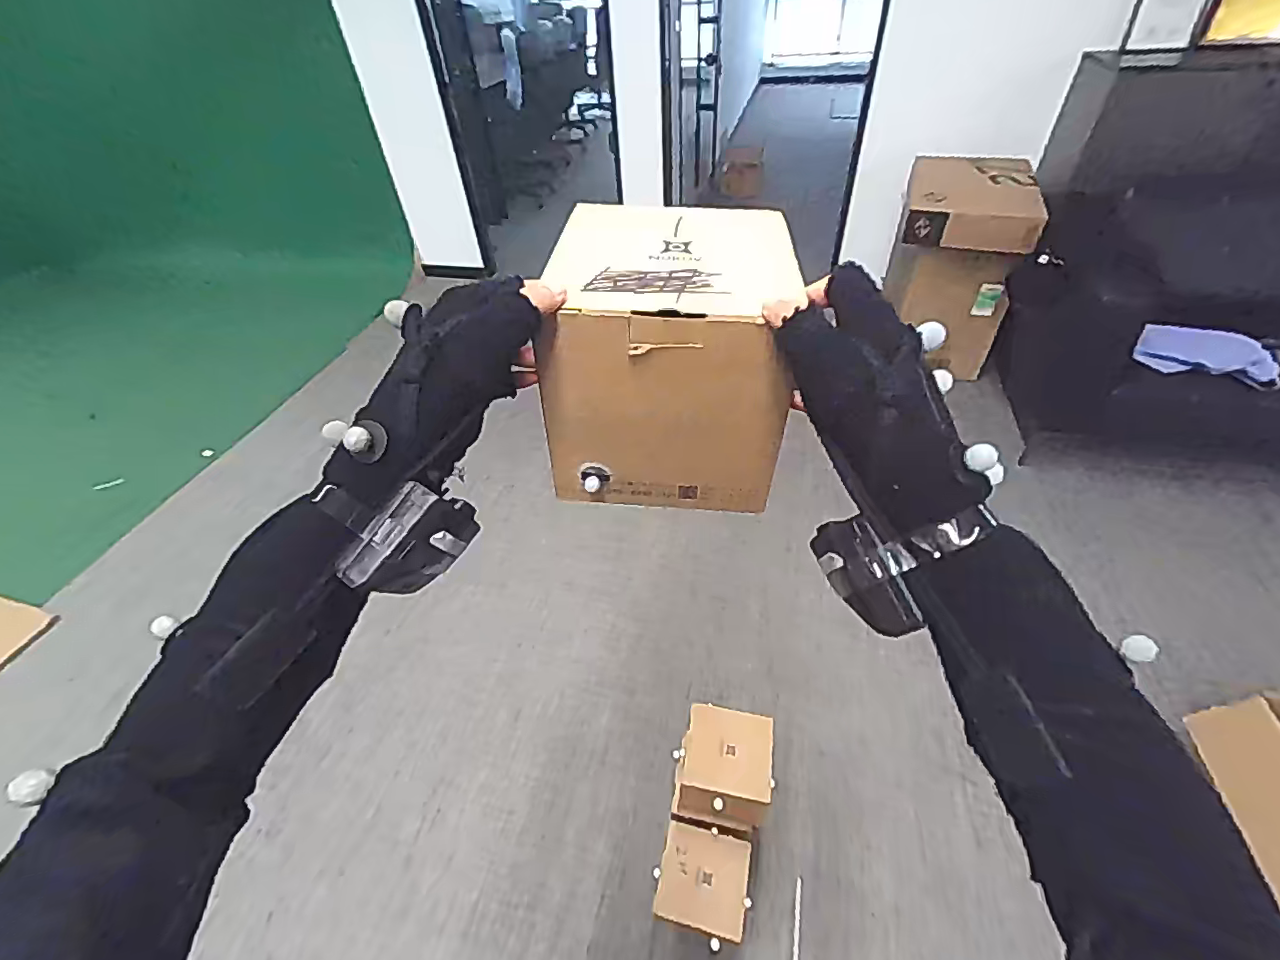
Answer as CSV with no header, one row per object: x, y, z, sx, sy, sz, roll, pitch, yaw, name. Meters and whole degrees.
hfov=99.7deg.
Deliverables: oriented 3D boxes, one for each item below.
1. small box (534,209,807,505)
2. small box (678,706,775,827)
0.025,-0.098,0.431,0.168,0.176,0.179,4,44,3,small box
0.181,0.608,1.141,0.179,0.176,0.168,8,45,11,small box
